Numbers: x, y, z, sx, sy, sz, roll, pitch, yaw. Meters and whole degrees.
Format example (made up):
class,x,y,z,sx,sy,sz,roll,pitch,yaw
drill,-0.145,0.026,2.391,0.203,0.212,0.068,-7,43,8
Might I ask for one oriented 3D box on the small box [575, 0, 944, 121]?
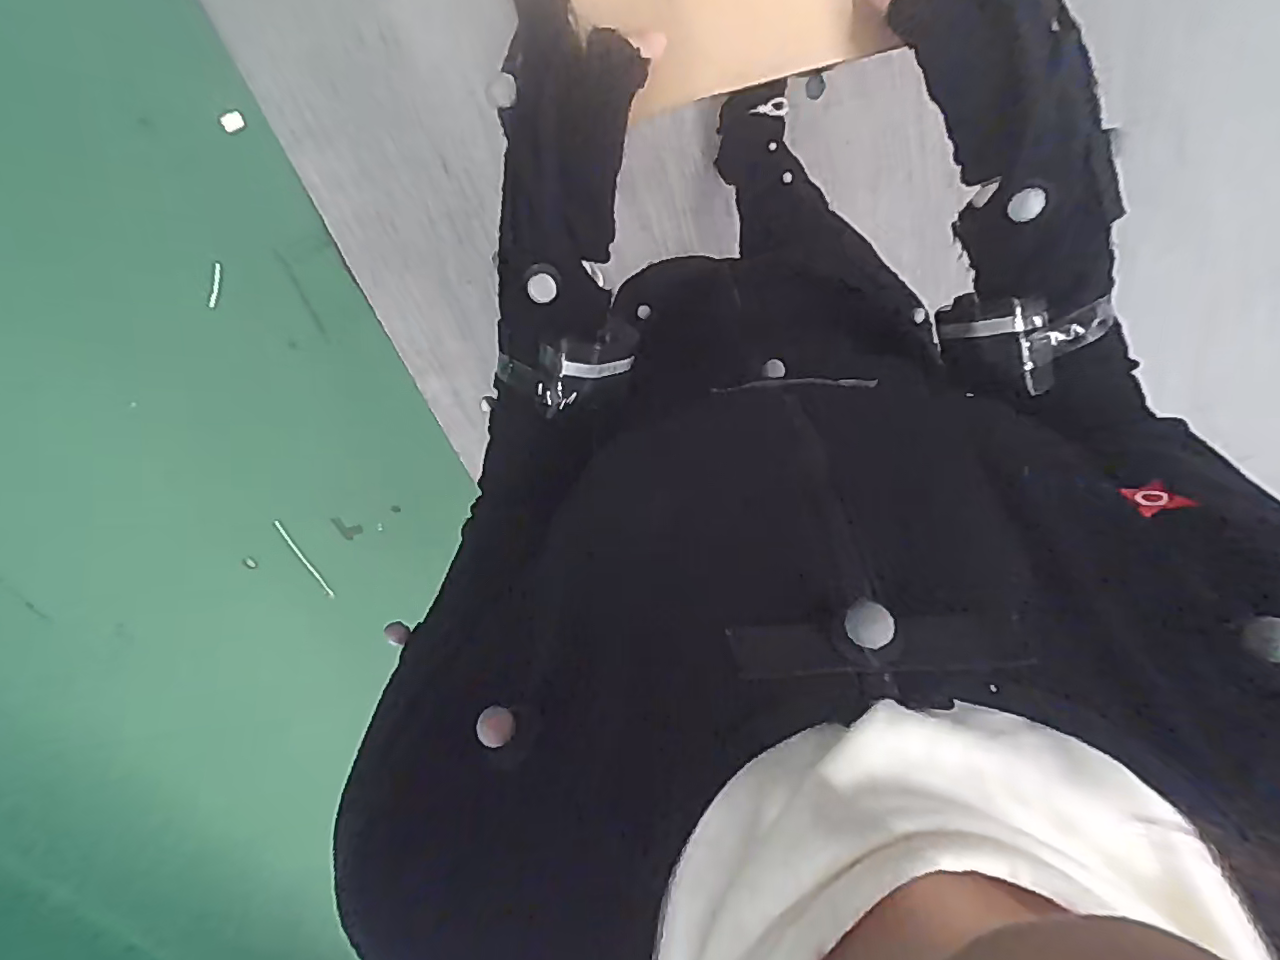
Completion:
class,x,y,z,sx,sy,sz,roll,pitch,yaw
small box,0.047,-0.319,0.298,0.179,0.176,0.168,-10,123,10
